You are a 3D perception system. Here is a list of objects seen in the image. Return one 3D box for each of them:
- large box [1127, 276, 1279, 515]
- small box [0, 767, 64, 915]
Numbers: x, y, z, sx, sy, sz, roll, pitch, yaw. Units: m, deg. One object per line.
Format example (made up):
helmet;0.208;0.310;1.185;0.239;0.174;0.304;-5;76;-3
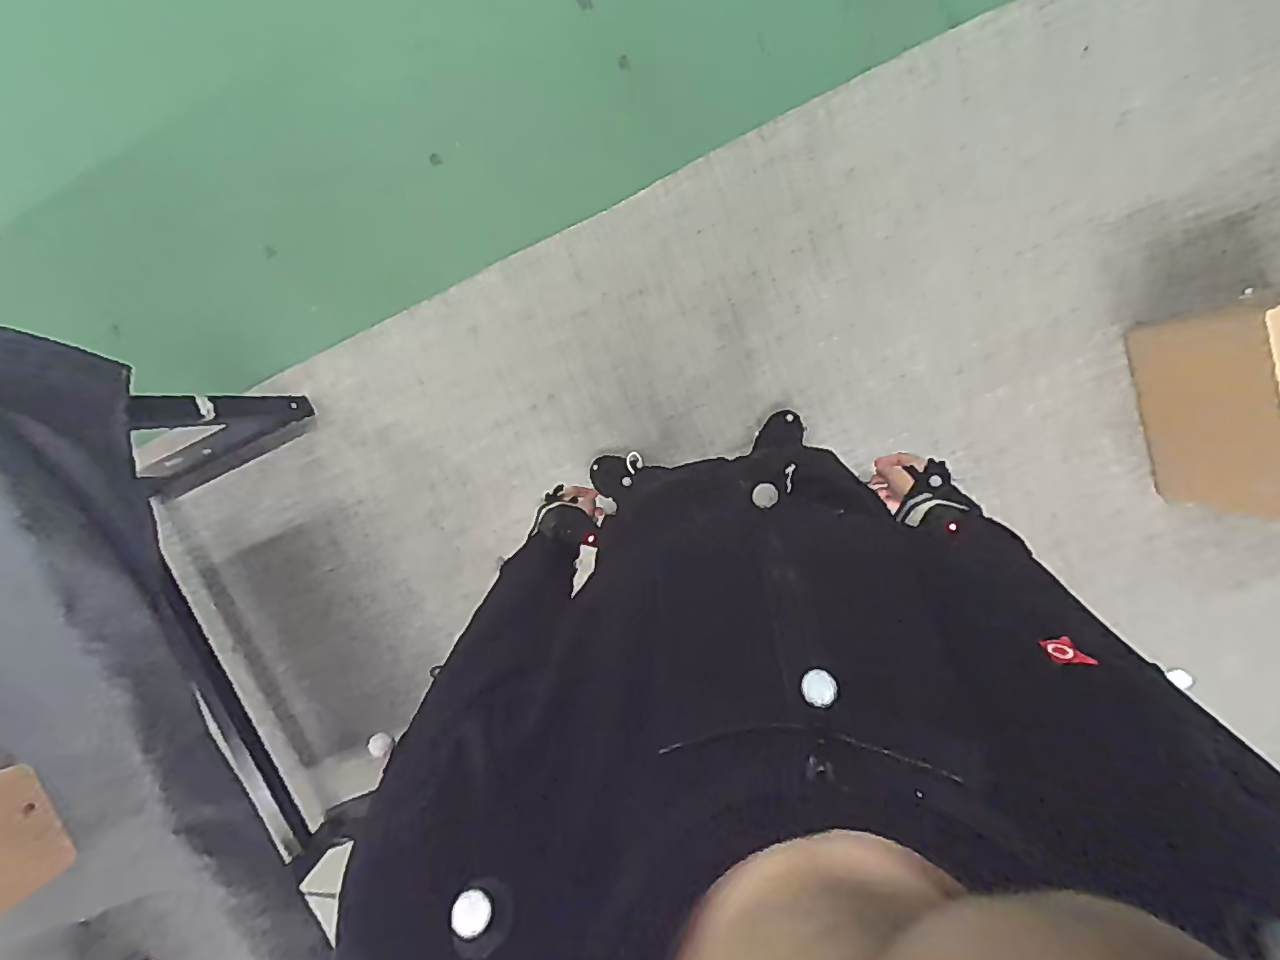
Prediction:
large box;1.281;-0.182;1.071;0.320;0.320;0.408;-18;98;9
small box;-0.938;0.519;0.720;0.179;0.176;0.168;-20;95;9
